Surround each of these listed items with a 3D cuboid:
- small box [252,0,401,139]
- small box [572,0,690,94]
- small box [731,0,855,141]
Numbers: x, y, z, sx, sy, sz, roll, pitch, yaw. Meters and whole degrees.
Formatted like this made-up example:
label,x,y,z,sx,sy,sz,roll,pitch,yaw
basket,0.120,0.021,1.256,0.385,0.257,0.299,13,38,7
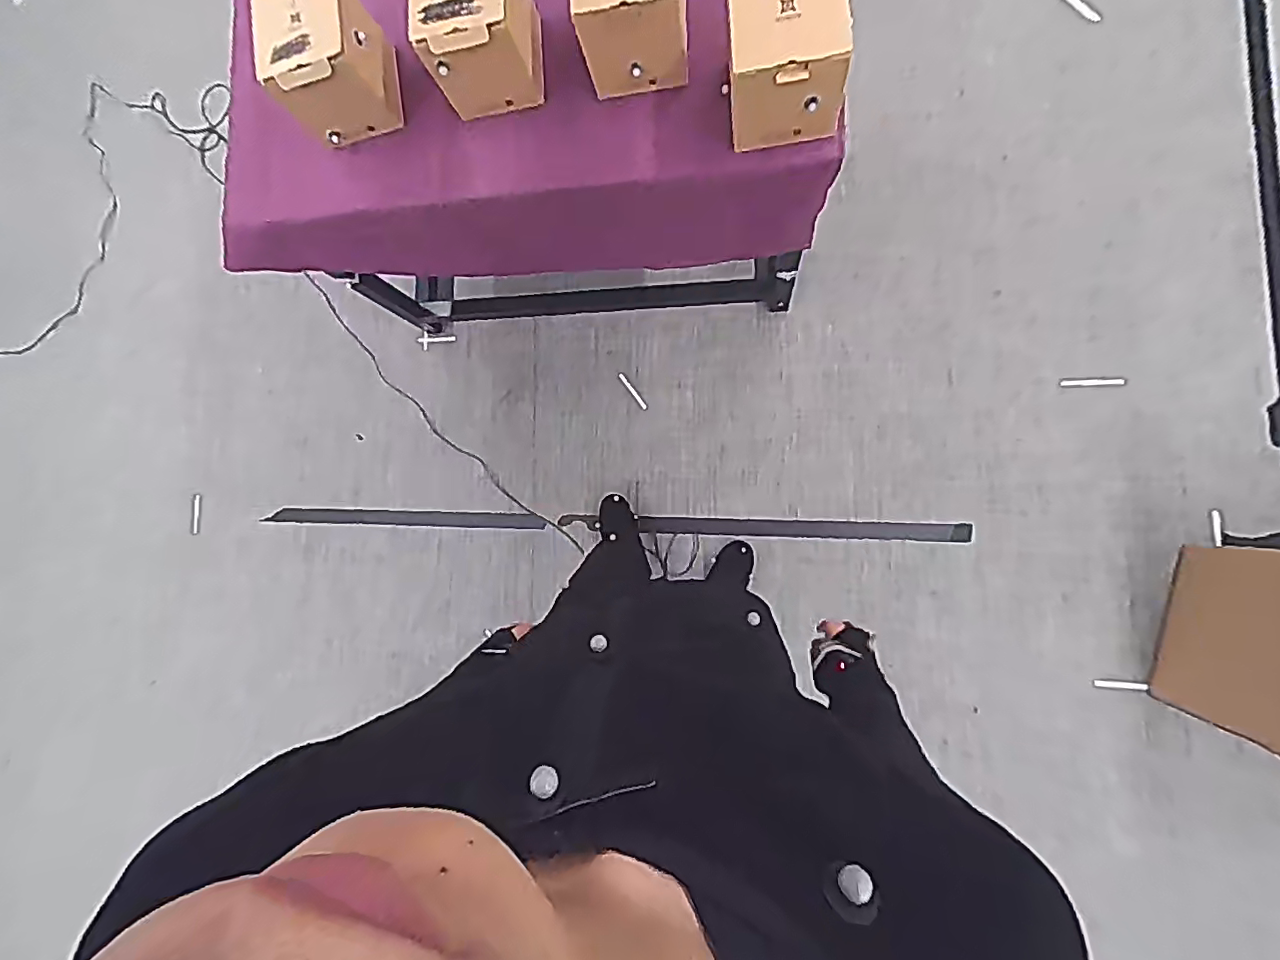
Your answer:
label,x,y,z,sx,sy,sz,roll,pitch,yaw
small box,-0.557,-0.758,0.981,0.168,0.176,0.179,-10,84,9
small box,-0.008,-0.784,0.884,0.168,0.176,0.179,-2,86,11
small box,0.227,-0.656,0.833,0.168,0.176,0.179,-3,85,10
